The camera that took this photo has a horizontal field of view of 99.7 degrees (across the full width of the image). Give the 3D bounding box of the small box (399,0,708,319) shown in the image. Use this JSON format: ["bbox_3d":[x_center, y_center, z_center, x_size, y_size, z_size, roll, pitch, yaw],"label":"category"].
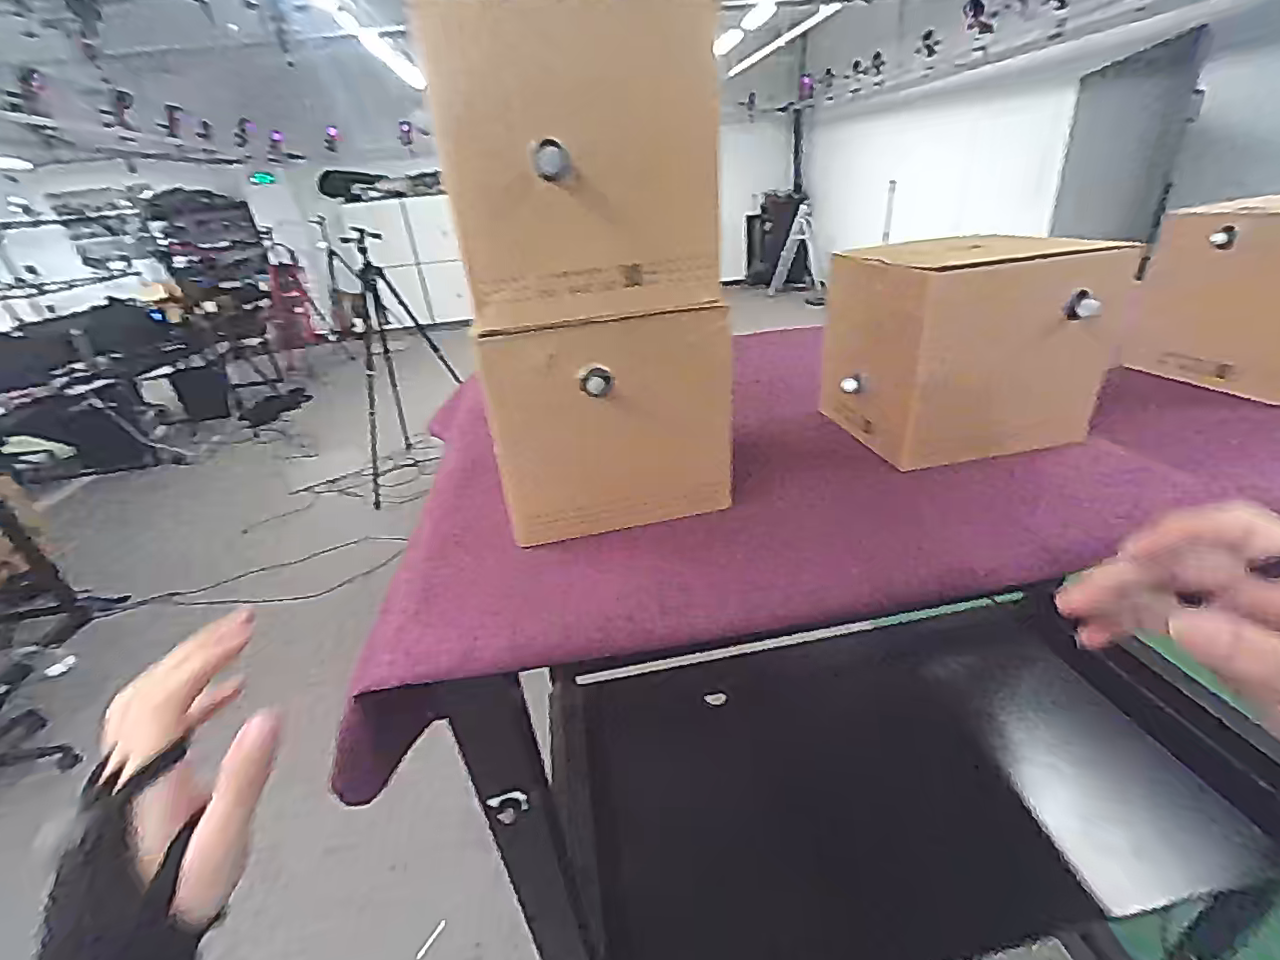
[{"bbox_3d":[-0.055,-0.217,0.394,0.168,0.176,0.179,-11,28,-9],"label":"small box"}]

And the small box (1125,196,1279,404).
[{"bbox_3d":[0.652,-0.187,0.541,0.179,0.176,0.168,-9,26,-5],"label":"small box"}]

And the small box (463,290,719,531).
[{"bbox_3d":[-0.039,-0.073,0.466,0.179,0.176,0.168,-10,28,-9],"label":"small box"}]

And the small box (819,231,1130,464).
[{"bbox_3d":[0.285,-0.130,0.509,0.179,0.176,0.168,-9,27,-5],"label":"small box"}]
